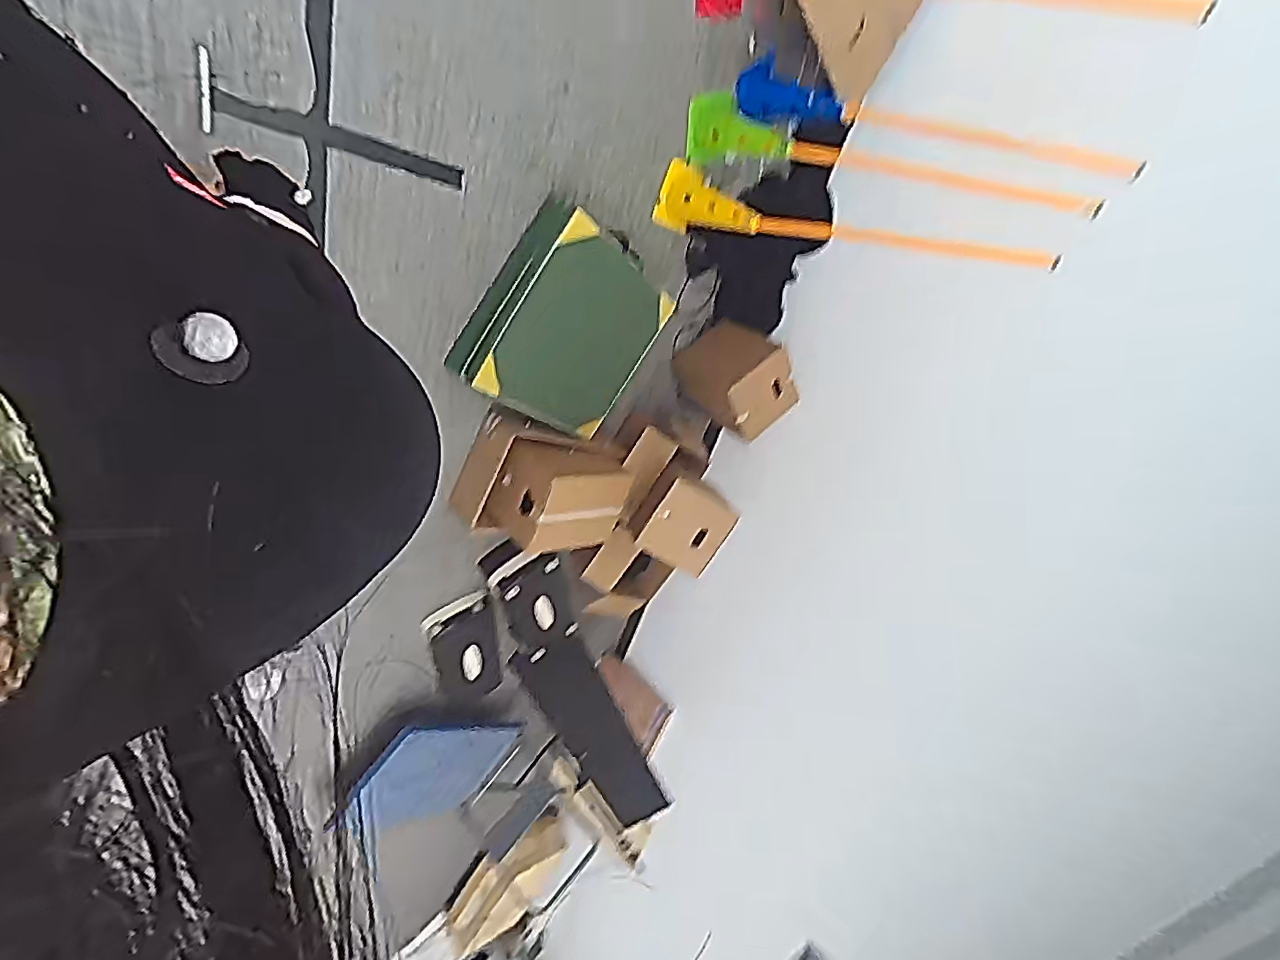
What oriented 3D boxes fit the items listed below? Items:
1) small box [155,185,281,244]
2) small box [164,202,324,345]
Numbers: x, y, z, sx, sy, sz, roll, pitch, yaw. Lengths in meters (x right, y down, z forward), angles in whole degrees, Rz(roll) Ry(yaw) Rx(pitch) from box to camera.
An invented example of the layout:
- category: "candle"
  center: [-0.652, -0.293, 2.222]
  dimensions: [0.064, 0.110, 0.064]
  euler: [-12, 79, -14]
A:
- category: "small box"
  center: [-0.836, -0.480, 1.104]
  dimensions: [0.168, 0.176, 0.179]
  euler: [-36, 144, -22]
- category: "small box"
  center: [-0.739, -0.387, 1.006]
  dimensions: [0.168, 0.176, 0.179]
  euler: [-54, 147, 7]
